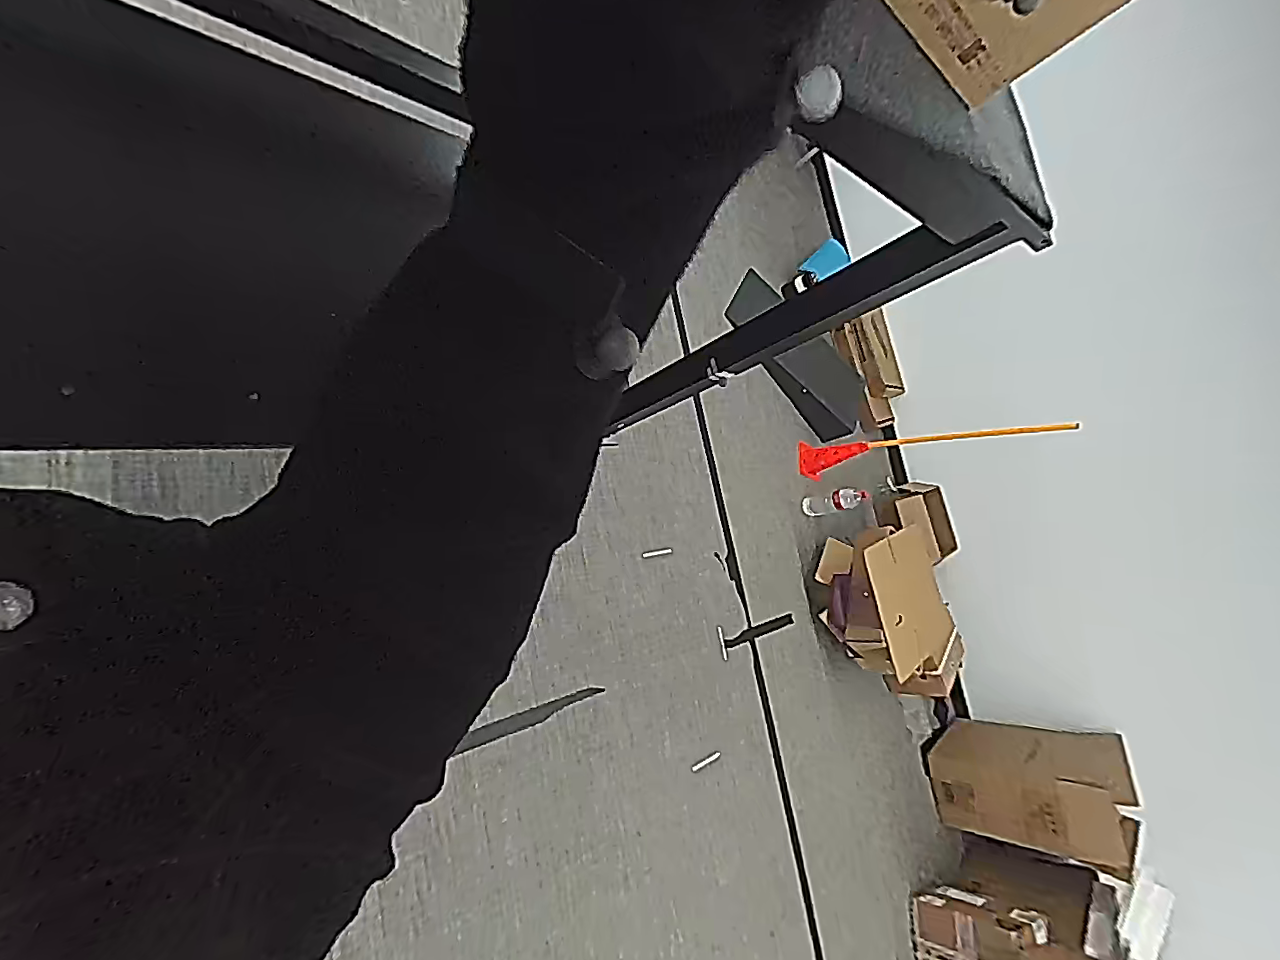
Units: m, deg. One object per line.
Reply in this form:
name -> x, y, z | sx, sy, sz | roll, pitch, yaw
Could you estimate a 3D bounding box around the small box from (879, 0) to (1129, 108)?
small box -> 0.227, -0.384, 0.323 | 0.168, 0.176, 0.179 | -3, 78, -42
